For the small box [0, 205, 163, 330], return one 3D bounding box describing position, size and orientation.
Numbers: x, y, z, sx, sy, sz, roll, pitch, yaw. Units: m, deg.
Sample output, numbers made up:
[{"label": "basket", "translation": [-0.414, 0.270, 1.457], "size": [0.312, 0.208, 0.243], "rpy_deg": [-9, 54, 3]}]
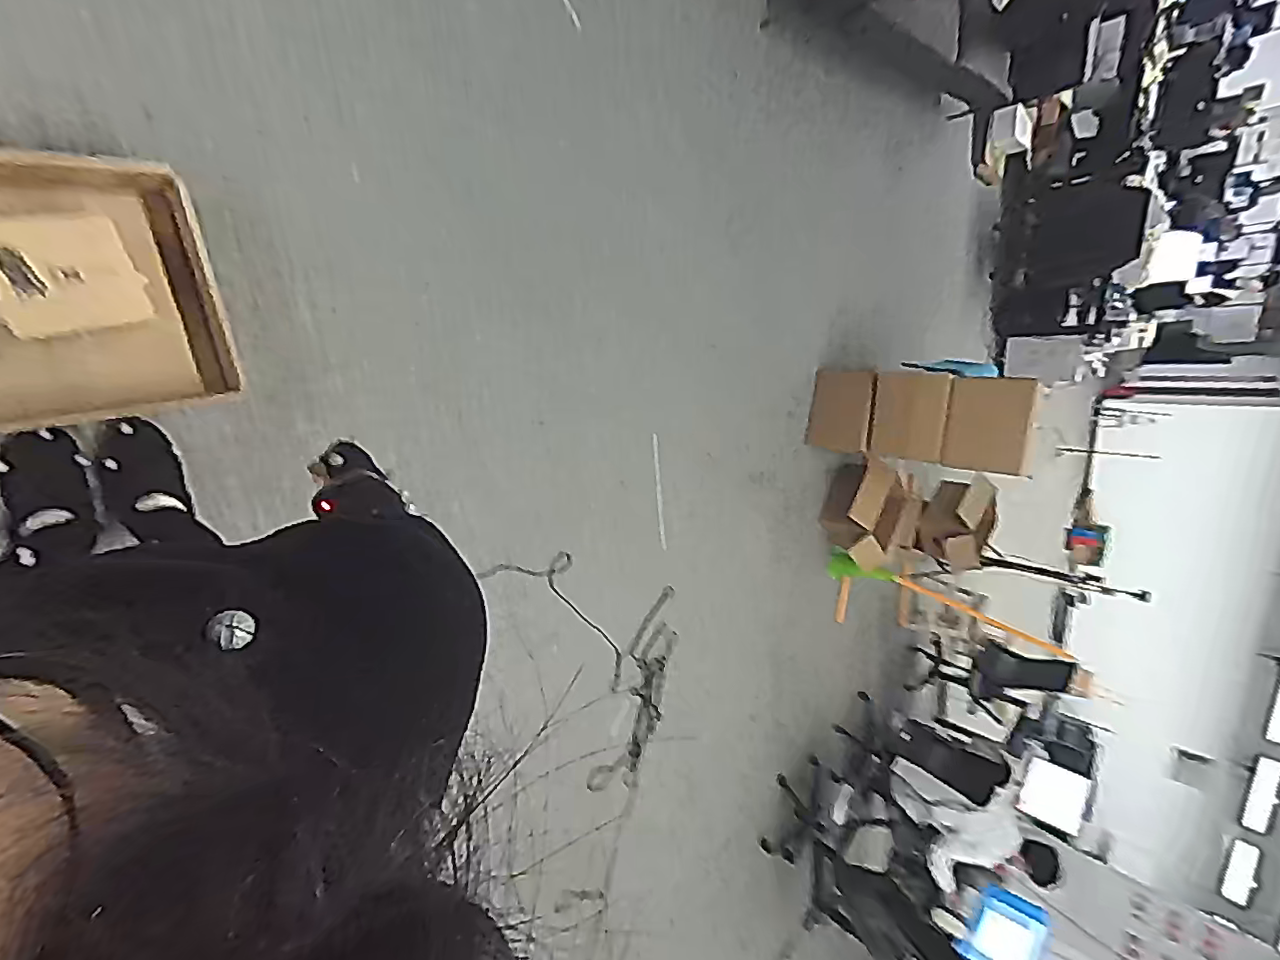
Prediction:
[{"label": "small box", "translation": [-0.939, -0.349, 0.899], "size": [0.179, 0.176, 0.168], "rpy_deg": [-27, 118, -37]}]
